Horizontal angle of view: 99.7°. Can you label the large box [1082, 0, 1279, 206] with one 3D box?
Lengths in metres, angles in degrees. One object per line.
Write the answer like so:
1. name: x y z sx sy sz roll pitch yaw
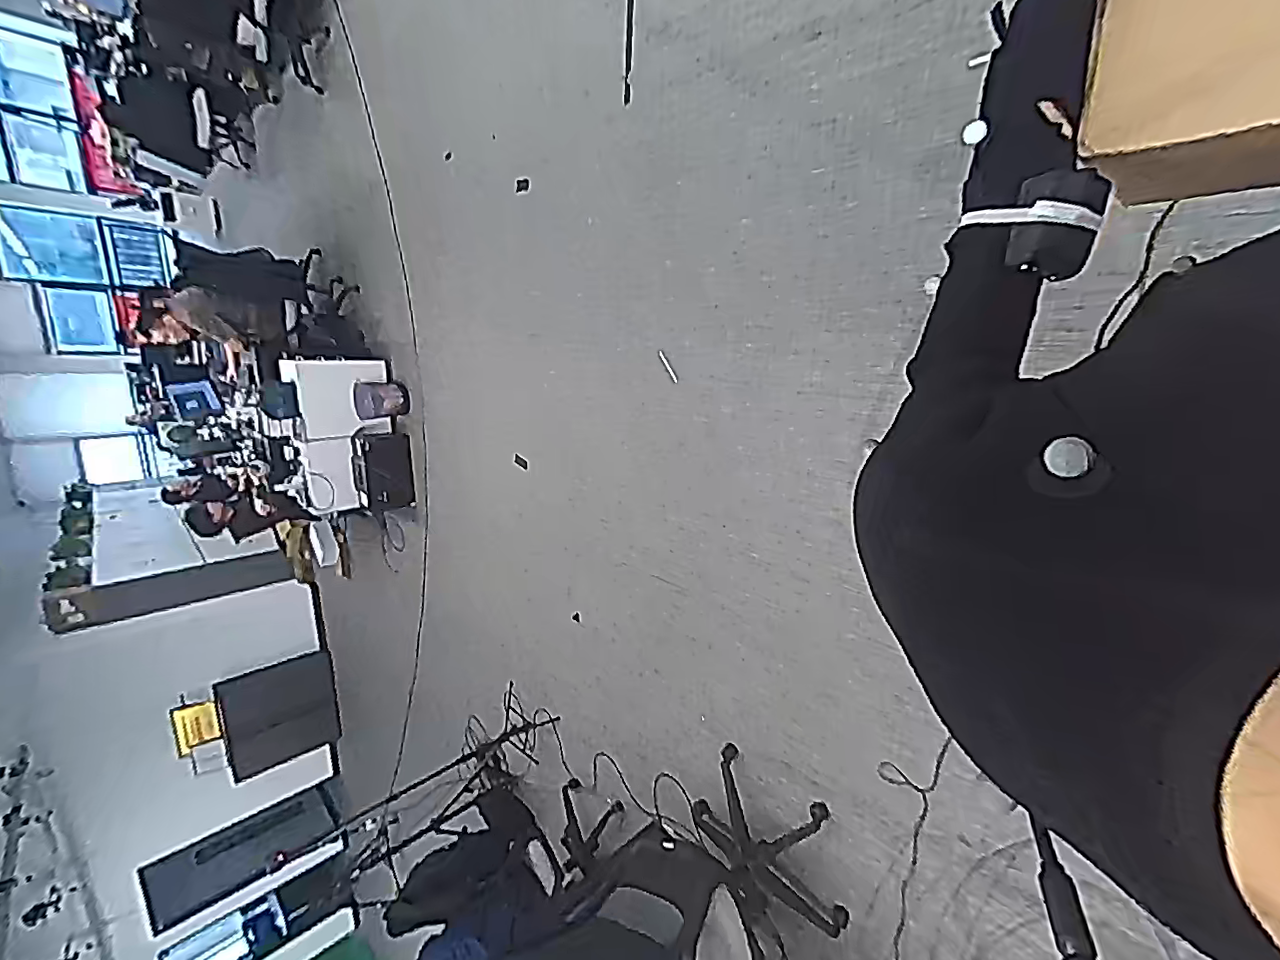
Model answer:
1. large box: 0.561 -0.387 0.328 0.408 0.320 0.320 12 113 43
